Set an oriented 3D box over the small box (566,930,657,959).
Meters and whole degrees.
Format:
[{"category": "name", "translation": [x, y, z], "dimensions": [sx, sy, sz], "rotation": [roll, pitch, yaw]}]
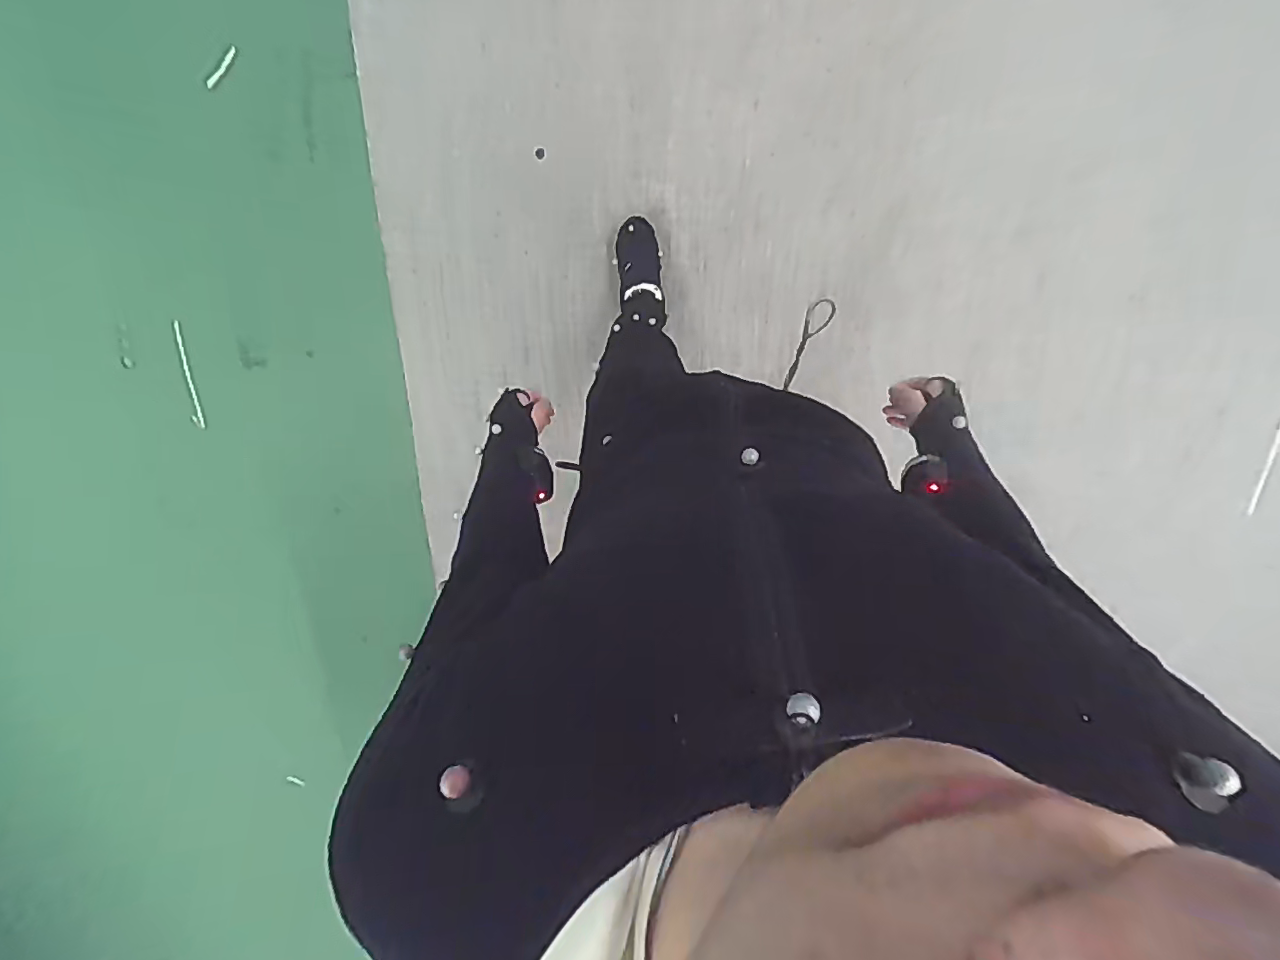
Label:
[{"category": "small box", "translation": [-0.056, 0.946, 0.959], "dimensions": [0.168, 0.176, 0.179], "rotation": [2, 109, 3]}]
